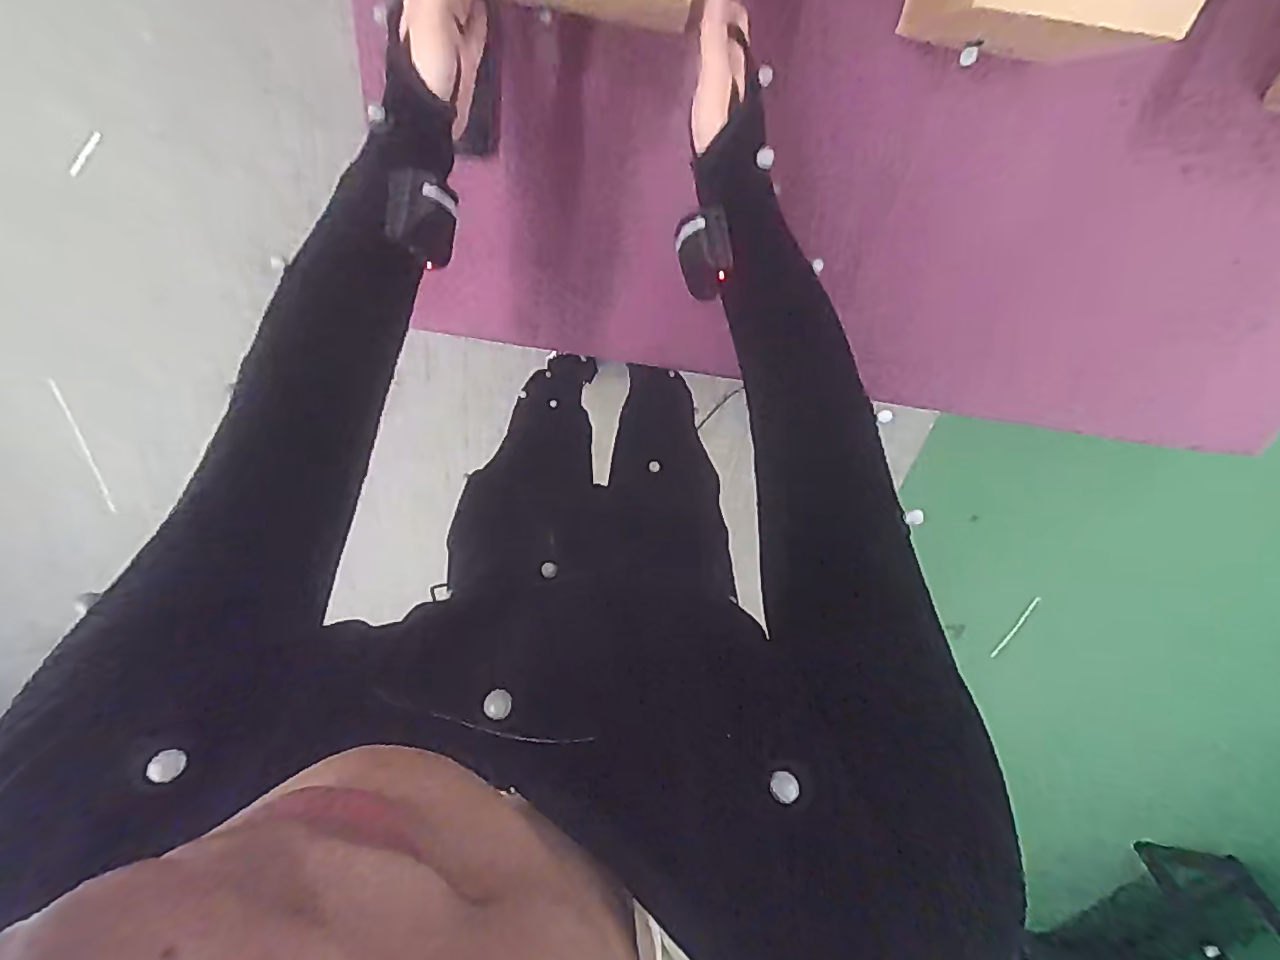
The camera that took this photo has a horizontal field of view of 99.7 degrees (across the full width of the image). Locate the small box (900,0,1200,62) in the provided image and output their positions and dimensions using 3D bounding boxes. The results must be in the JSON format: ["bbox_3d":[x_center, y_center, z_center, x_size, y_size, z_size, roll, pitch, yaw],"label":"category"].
[{"bbox_3d":[0.331,-0.452,0.415,0.168,0.176,0.179,8,122,-2],"label":"small box"}]

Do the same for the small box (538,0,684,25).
[{"bbox_3d":[-0.033,-0.479,0.410,0.168,0.176,0.179,8,121,-3],"label":"small box"}]
